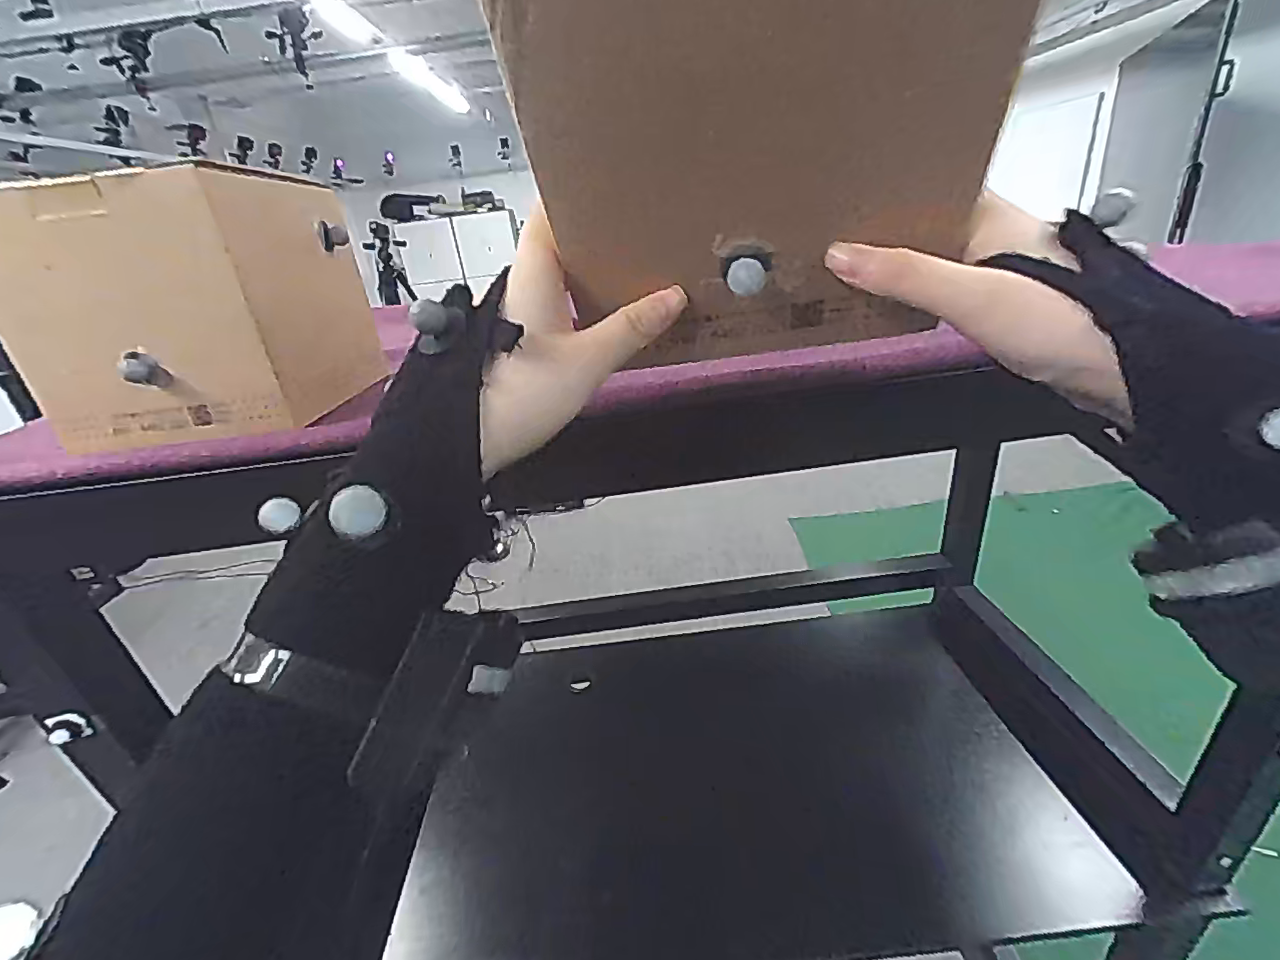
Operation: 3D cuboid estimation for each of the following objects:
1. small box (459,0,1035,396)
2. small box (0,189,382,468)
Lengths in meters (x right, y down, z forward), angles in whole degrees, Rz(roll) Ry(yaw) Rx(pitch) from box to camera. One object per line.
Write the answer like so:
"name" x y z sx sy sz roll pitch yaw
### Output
"small box" 0.041 -0.165 0.256 0.168 0.176 0.179 -6 54 9
"small box" -0.331 -0.122 0.428 0.168 0.176 0.179 -7 25 1
